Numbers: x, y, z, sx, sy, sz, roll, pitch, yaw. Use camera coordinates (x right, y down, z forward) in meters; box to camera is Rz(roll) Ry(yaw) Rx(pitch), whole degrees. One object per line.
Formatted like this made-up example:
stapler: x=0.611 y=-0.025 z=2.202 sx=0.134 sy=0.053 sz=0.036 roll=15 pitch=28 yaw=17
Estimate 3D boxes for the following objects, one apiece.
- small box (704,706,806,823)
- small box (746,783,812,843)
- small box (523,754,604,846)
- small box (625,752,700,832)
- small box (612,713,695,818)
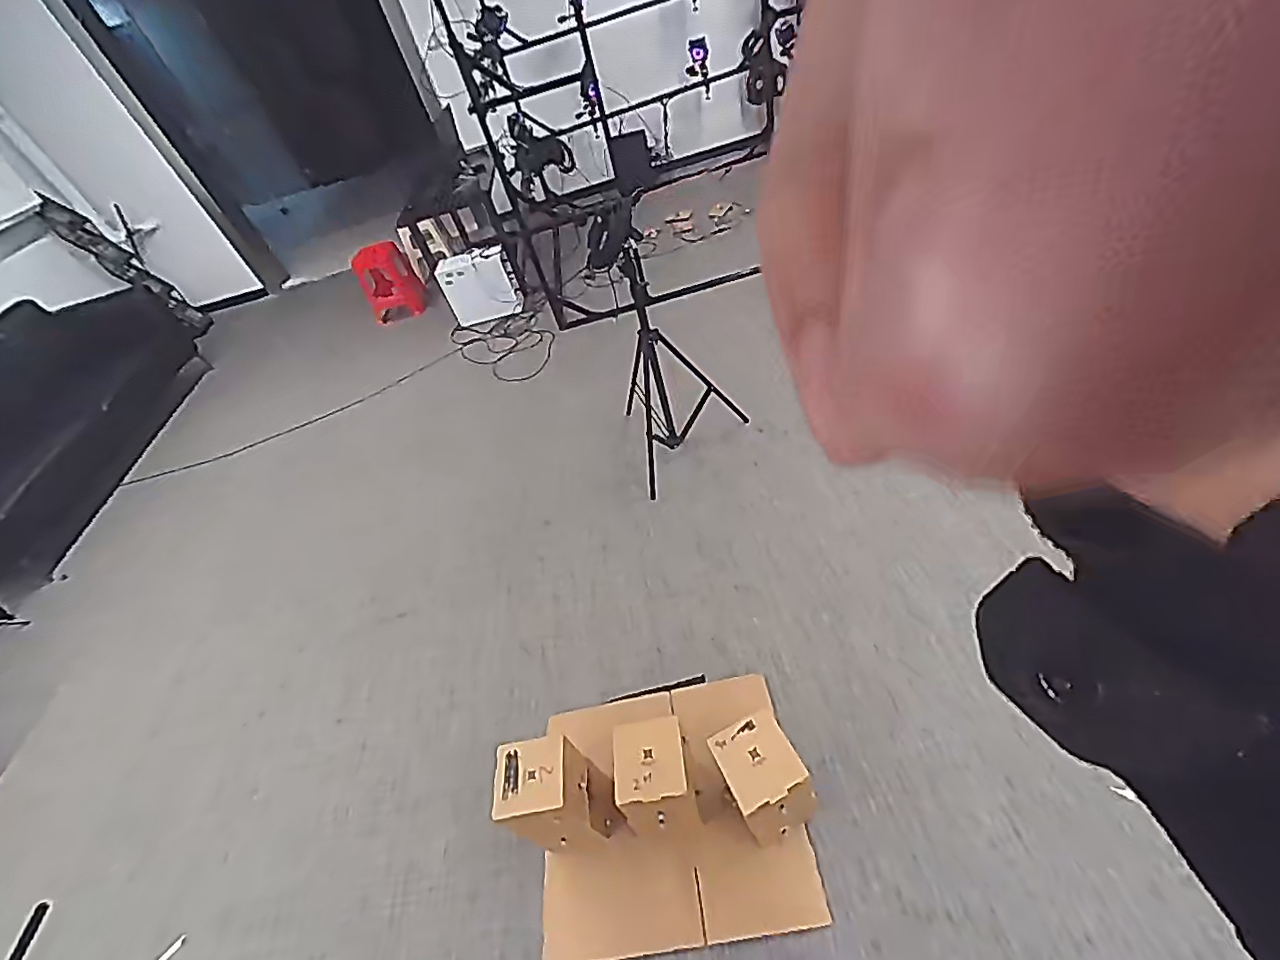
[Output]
small box: x=0.273 y=0.671 z=1.263 sx=0.168 sy=0.176 sz=0.179 roll=-27 pitch=46 yaw=-7
small box: x=0.317 y=0.780 z=1.376 sx=0.168 sy=0.176 sz=0.179 roll=-28 pitch=45 yaw=-9
small box: x=-0.199 y=0.865 z=1.457 sx=0.179 sy=0.176 sz=0.168 roll=-15 pitch=44 yaw=6
small box: x=0.060 y=0.810 z=1.429 sx=0.179 sy=0.176 sz=0.168 roll=-13 pitch=45 yaw=6
small box: x=0.032 y=0.695 z=1.314 sx=0.168 sy=0.176 sz=0.179 roll=-12 pitch=45 yaw=6
